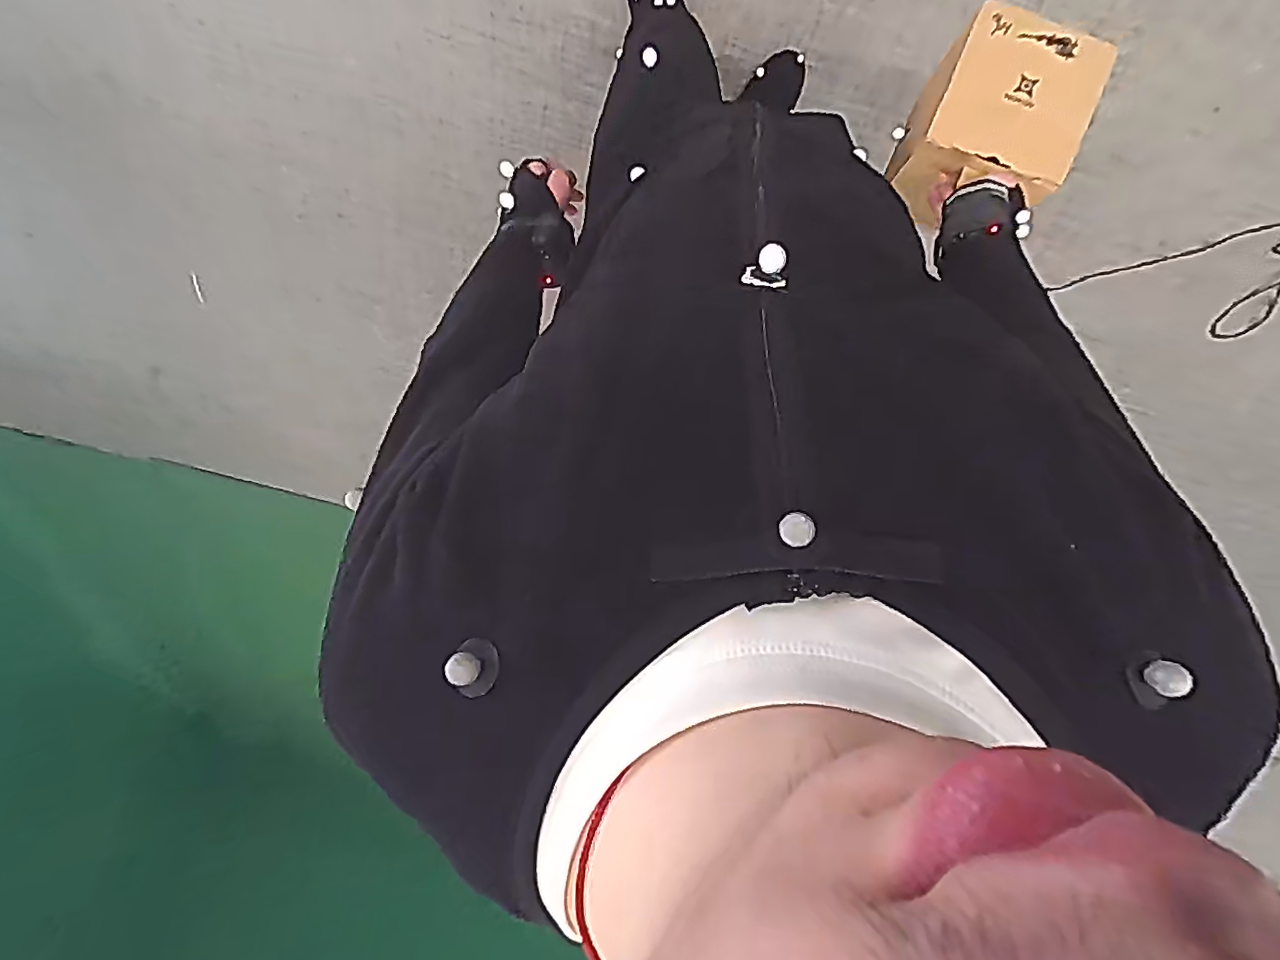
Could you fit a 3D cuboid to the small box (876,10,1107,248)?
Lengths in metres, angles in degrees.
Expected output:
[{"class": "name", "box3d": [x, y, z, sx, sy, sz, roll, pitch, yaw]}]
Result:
[{"class": "small box", "box3d": [0.437, -0.439, 0.708, 0.168, 0.176, 0.179, 23, 90, 3]}]
